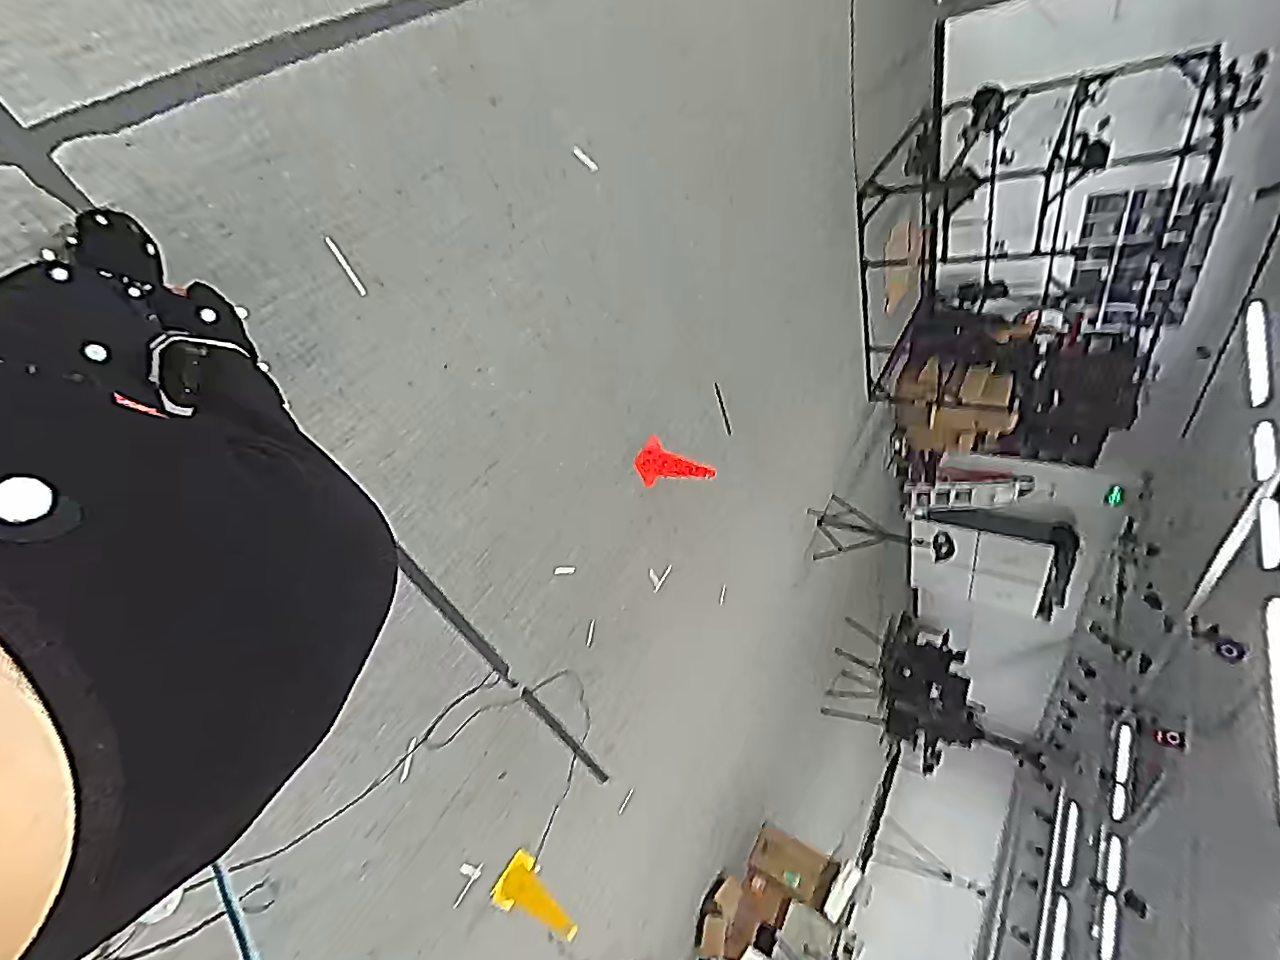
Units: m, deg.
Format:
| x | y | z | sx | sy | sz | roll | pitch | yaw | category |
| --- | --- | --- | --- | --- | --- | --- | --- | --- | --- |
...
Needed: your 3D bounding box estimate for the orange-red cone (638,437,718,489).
| x | y | z | sx | sy | sz | roll | pitch | yaw | category |
| --- | --- | --- | --- | --- | --- | --- | --- | --- | --- |
| 0.197 | -0.054 | 2.510 | 0.198 | 0.360 | 0.199 | -56 | 138 | -28 | orange-red cone |
